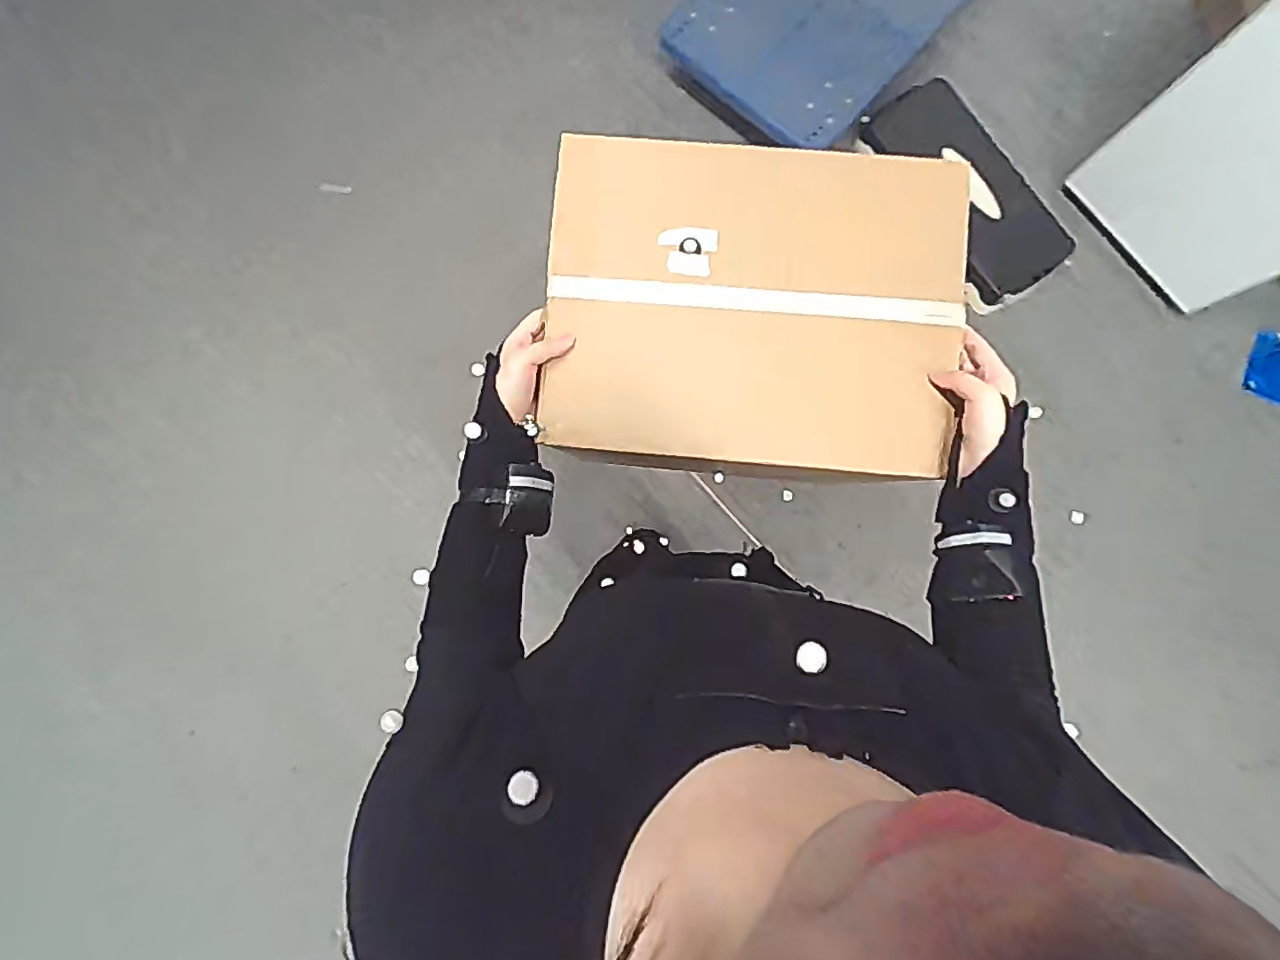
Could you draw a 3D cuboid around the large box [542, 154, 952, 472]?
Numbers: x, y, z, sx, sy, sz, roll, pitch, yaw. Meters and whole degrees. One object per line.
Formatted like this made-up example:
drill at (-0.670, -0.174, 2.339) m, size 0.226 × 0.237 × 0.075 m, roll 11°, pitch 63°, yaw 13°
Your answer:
large box at (0.114, -0.172, 0.692) m, size 0.408 × 0.320 × 0.320 m, roll 4°, pitch 89°, yaw 3°
